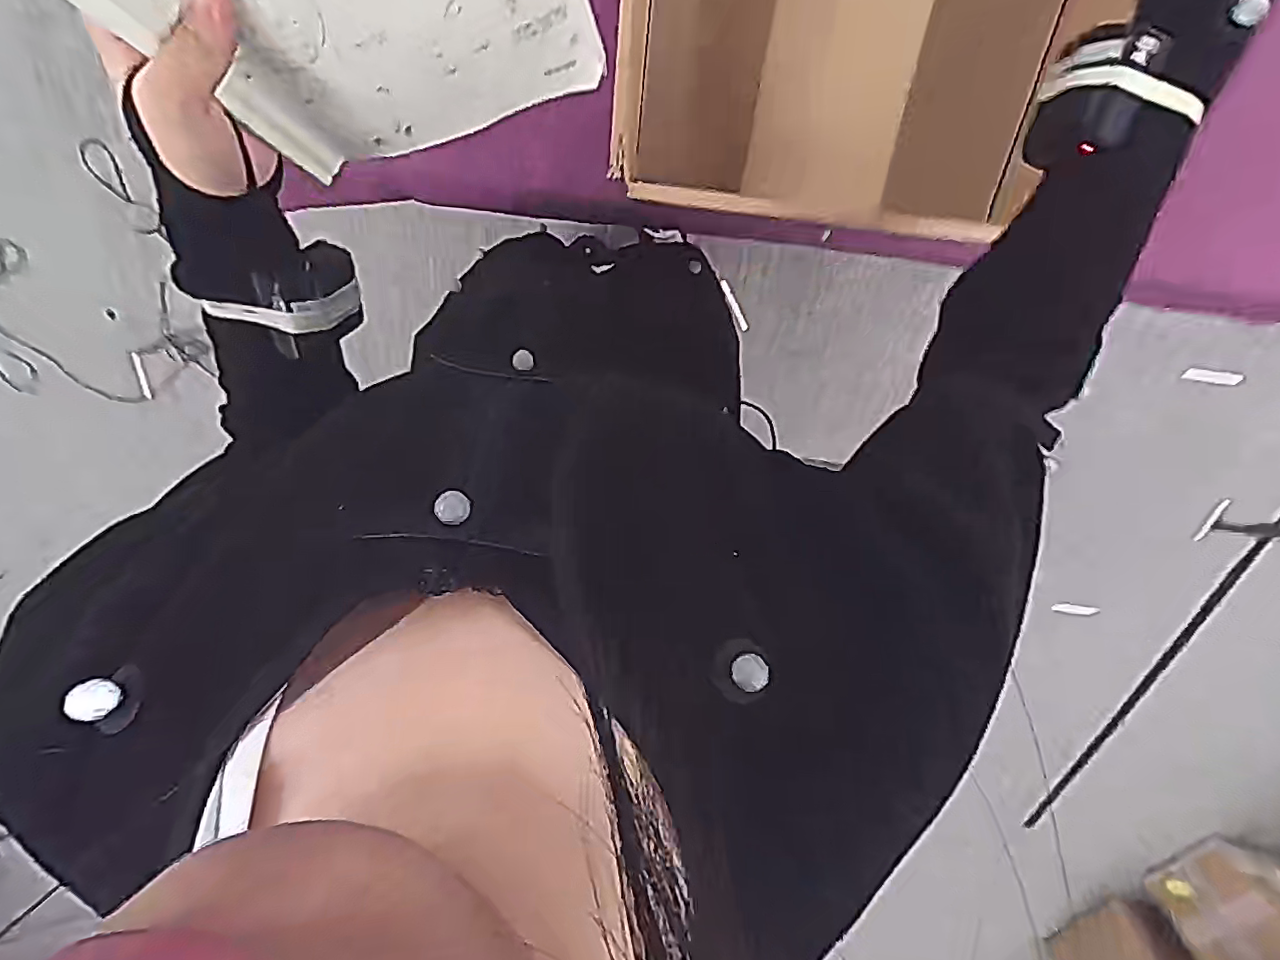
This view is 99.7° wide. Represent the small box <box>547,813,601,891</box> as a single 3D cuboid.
[{"bbox_3d":[-0.229,1.290,1.881,0.168,0.176,0.179,4,120,0],"label":"small box"}]
